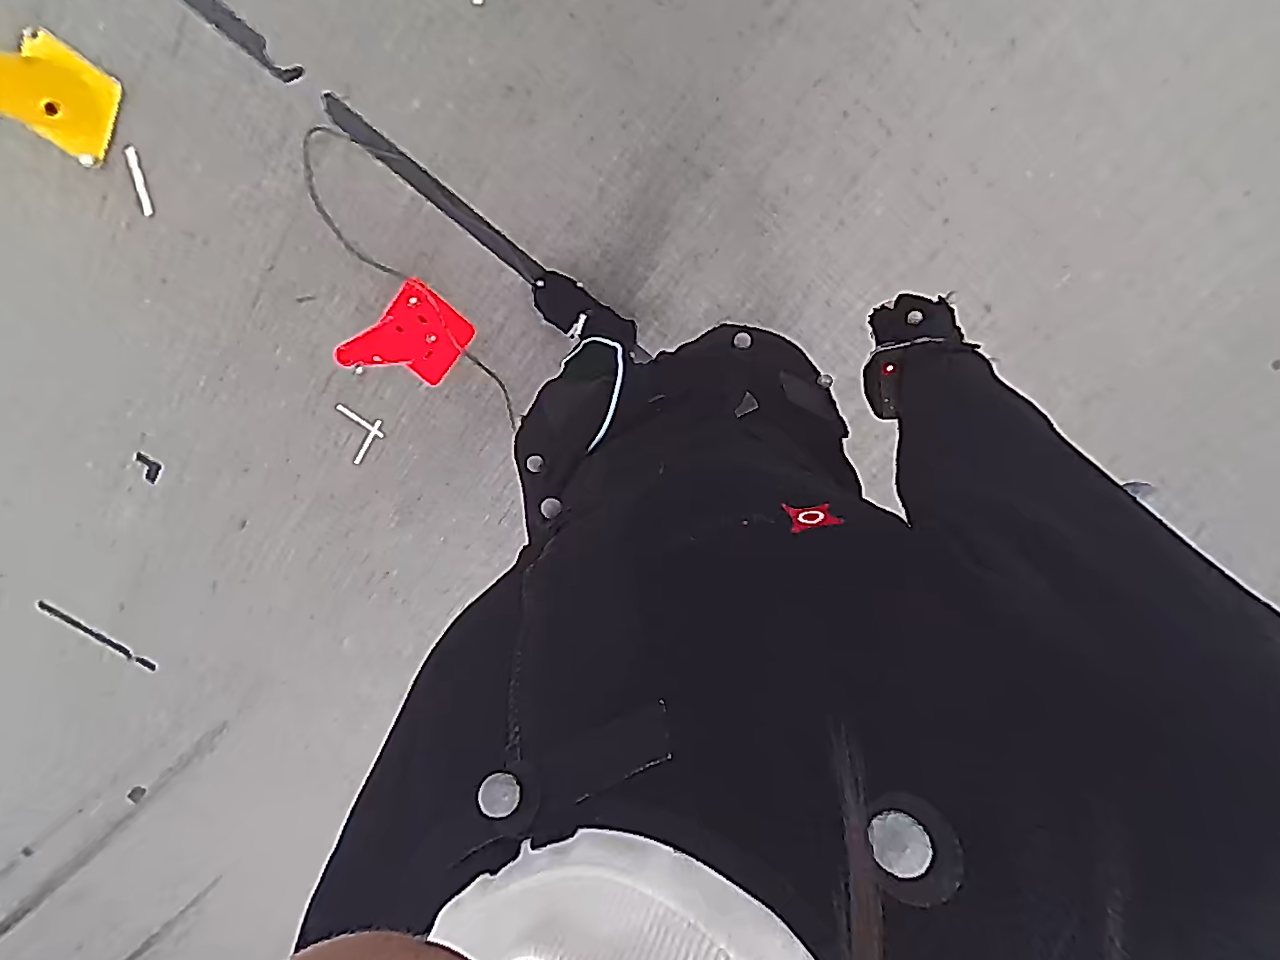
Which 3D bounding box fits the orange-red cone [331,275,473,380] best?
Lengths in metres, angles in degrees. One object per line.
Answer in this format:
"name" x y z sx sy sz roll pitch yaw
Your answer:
"orange-red cone" -0.548 -0.306 1.176 0.198 0.360 0.199 42 110 -12
